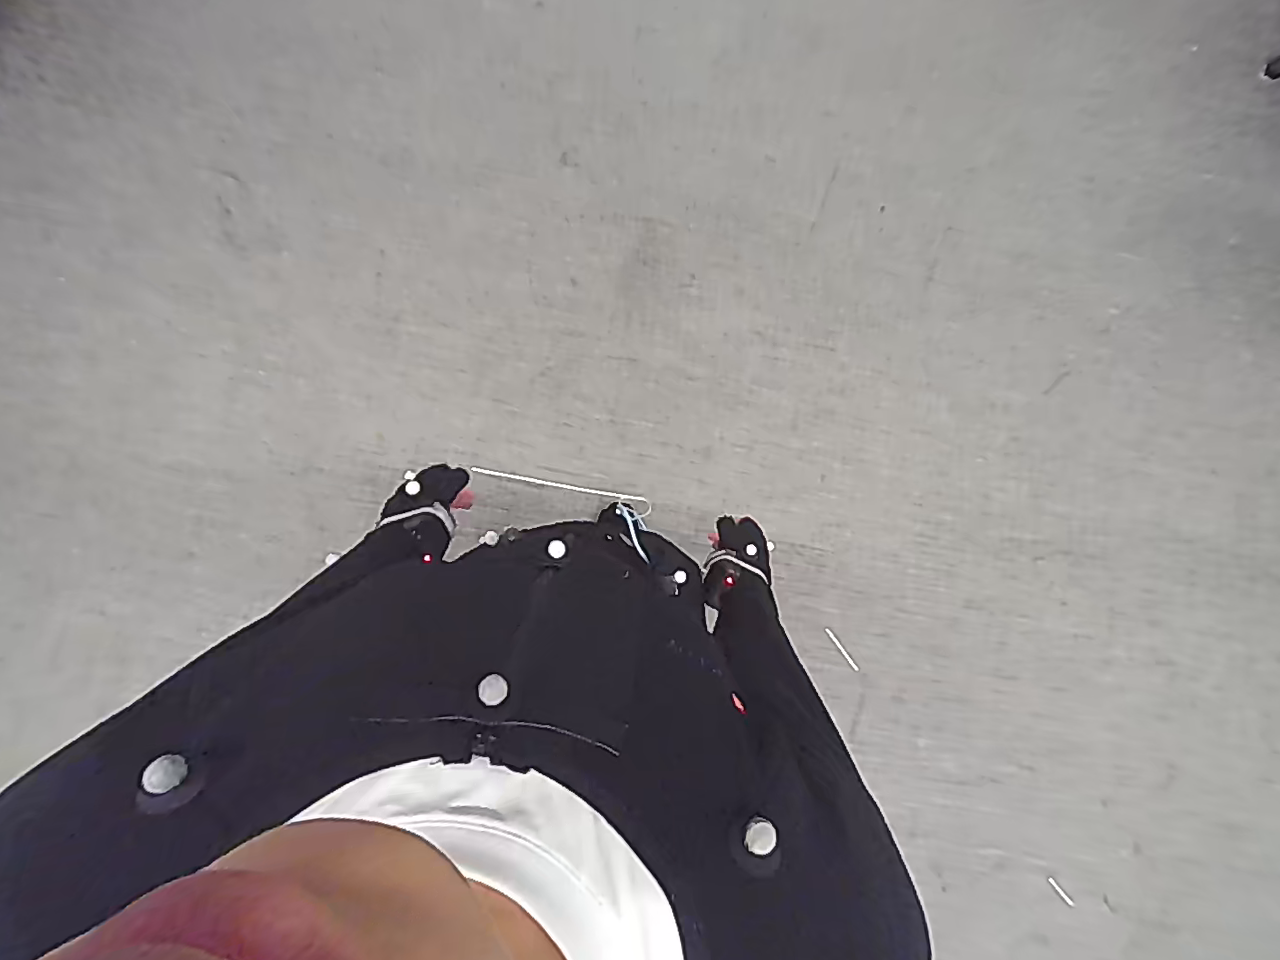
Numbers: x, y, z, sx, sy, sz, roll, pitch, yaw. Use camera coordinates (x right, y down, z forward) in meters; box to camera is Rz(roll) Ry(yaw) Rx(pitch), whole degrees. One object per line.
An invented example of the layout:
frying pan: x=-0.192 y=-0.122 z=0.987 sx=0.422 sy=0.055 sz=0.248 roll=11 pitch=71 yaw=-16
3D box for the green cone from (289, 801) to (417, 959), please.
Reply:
green cone: x=-0.667 y=0.911 z=1.201 sx=0.202 sy=0.368 sz=0.200 roll=10 pitch=84 yaw=-4
